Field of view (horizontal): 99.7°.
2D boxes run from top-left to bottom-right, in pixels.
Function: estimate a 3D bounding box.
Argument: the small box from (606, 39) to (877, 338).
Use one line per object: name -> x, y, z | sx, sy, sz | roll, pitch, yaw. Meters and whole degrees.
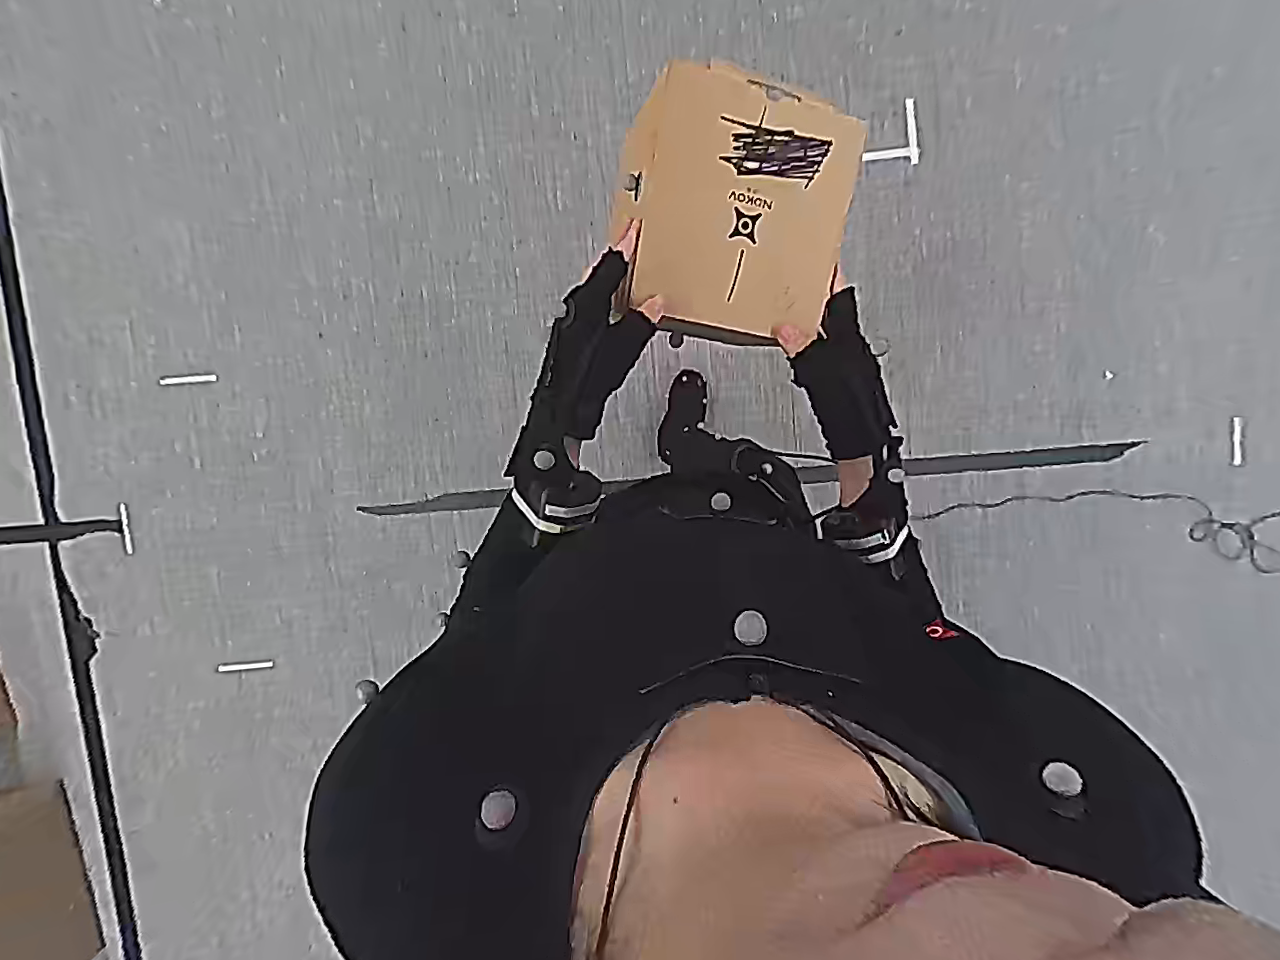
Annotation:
small box -> 0.071, -0.231, 0.485 | 0.168, 0.176, 0.179 | 7, 103, -14
